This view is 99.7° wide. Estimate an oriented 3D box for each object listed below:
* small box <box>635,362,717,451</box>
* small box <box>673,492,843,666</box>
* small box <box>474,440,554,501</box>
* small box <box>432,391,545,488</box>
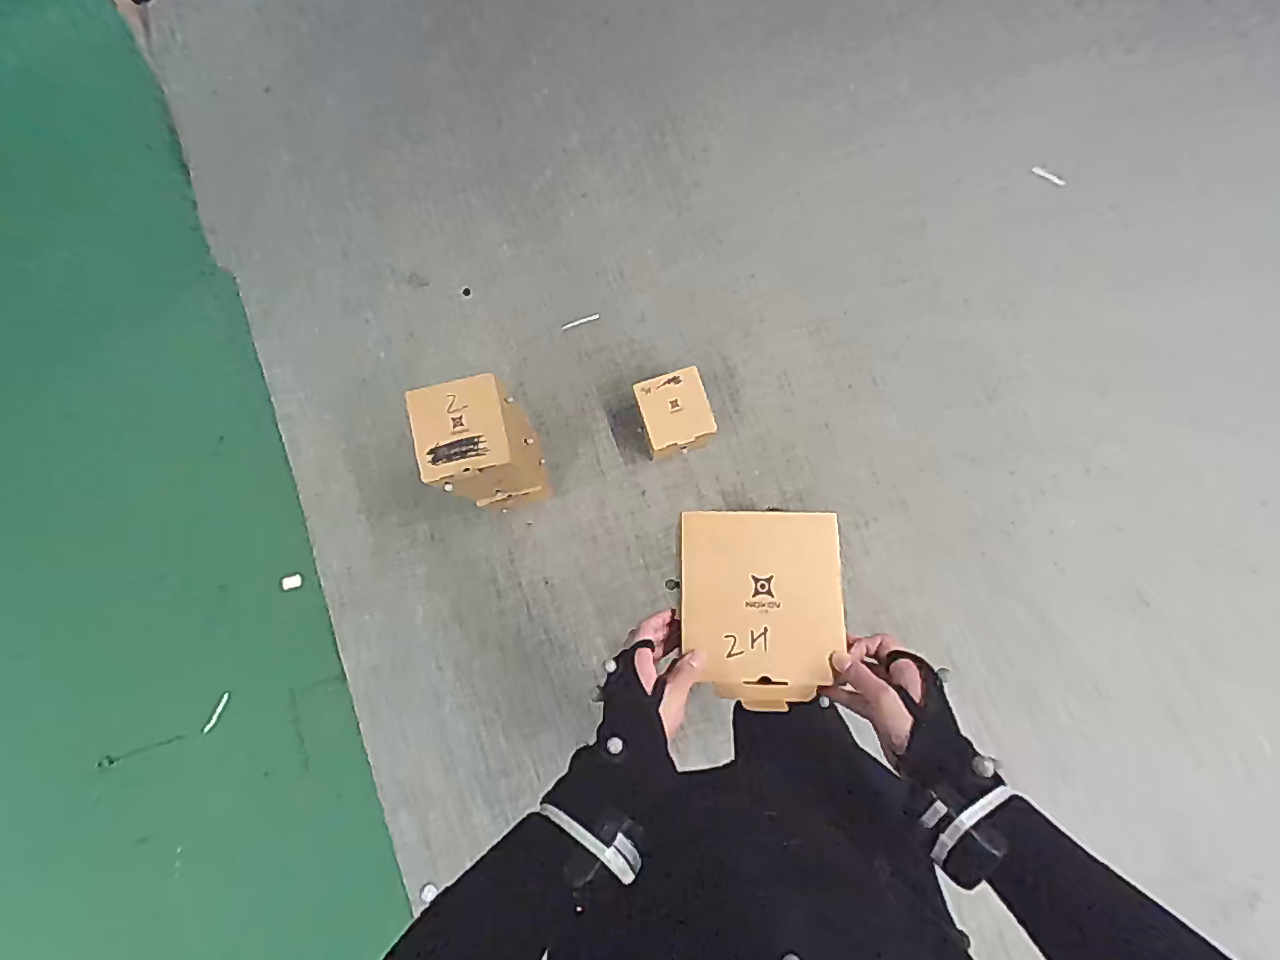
[{"bbox_3d":[0.090,-0.180,1.395,0.168,0.176,0.179,-17,84,-2],"label":"small box"},{"bbox_3d":[0.125,0.118,0.636,0.168,0.176,0.179,1,77,2],"label":"small box"},{"bbox_3d":[-0.326,-0.048,1.382,0.168,0.176,0.179,-14,82,-2],"label":"small box"},{"bbox_3d":[-0.335,-0.084,1.231,0.179,0.176,0.168,18,85,3],"label":"small box"}]
